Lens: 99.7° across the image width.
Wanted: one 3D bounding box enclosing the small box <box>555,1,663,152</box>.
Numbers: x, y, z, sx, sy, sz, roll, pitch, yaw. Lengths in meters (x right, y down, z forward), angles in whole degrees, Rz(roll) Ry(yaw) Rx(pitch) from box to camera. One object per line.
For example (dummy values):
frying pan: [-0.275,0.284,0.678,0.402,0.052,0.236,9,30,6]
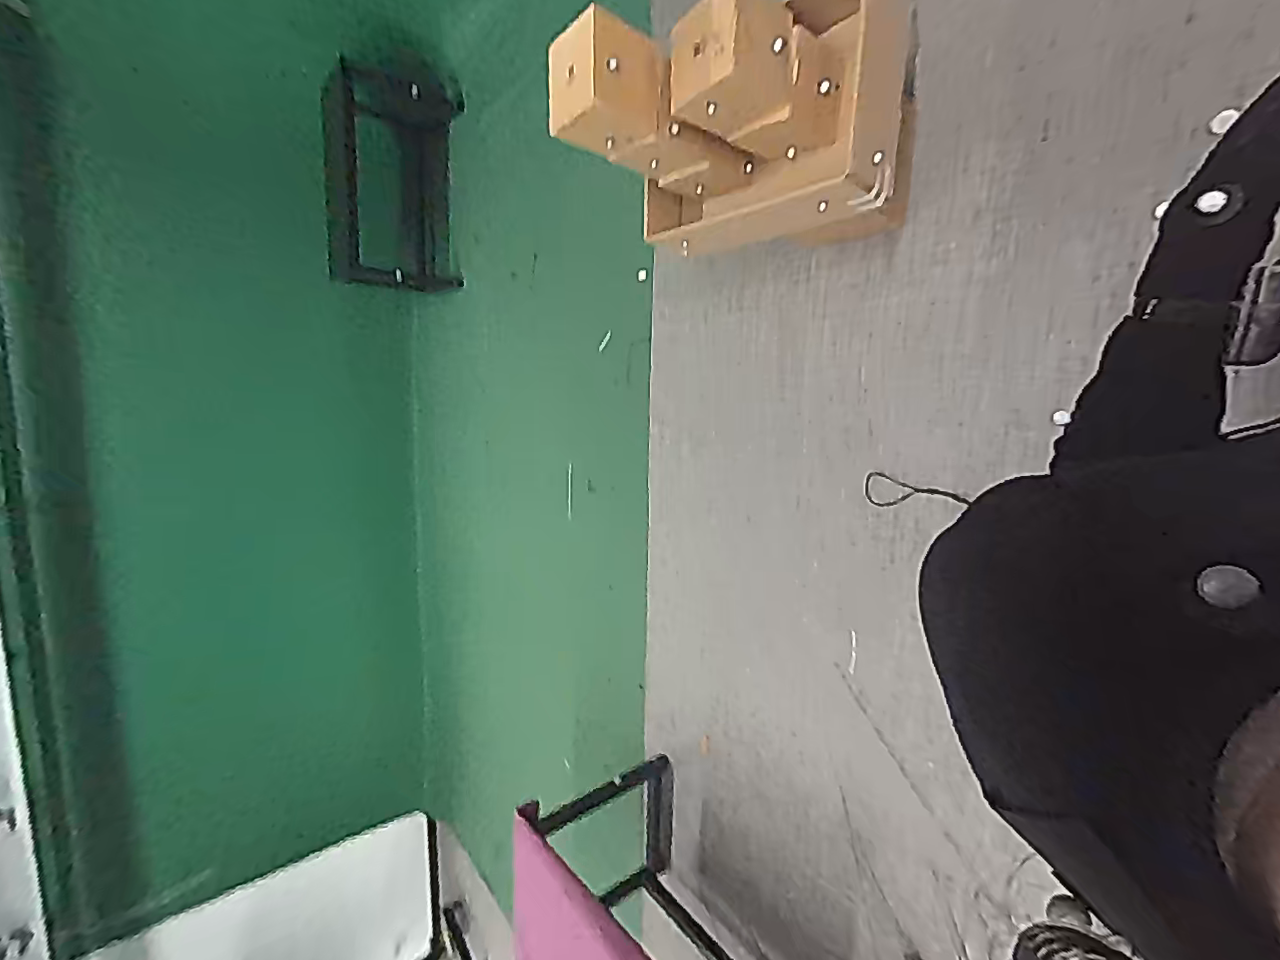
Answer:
small box: [-0.064,-0.835,1.141,0.168,0.176,0.179,9,101,50]
